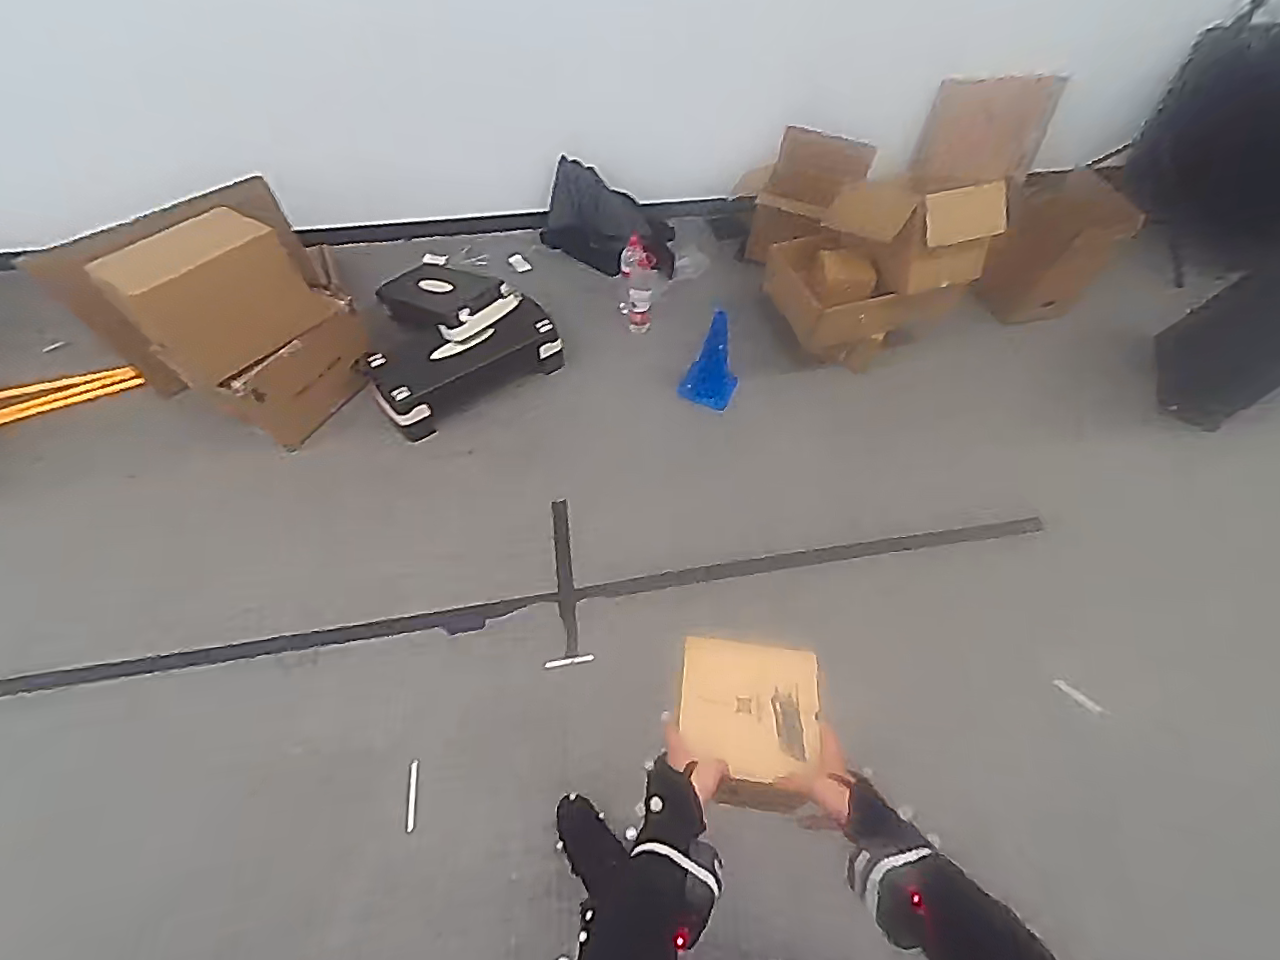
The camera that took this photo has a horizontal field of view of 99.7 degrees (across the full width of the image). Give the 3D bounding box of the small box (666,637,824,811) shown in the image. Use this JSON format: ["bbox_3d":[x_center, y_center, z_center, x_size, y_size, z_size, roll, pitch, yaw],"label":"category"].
[{"bbox_3d":[0.135,0.335,0.734,0.179,0.176,0.168,7,51,4],"label":"small box"}]
